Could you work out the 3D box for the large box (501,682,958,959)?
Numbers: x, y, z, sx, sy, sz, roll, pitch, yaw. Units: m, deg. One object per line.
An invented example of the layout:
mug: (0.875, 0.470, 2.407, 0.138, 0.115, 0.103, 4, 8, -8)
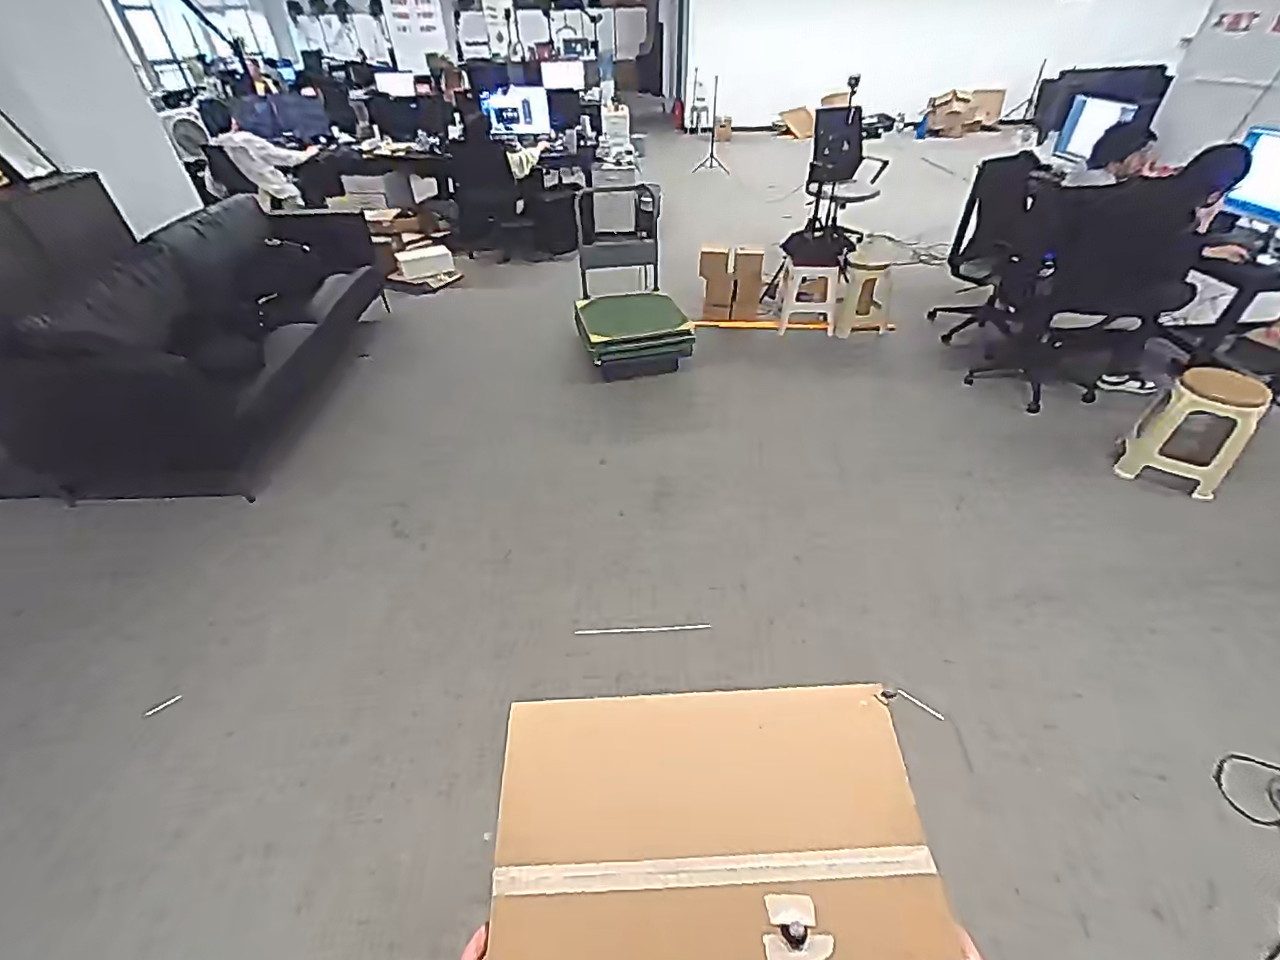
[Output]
large box: (0.076, 0.448, 0.628, 0.408, 0.320, 0.320, -4, 55, 0)
